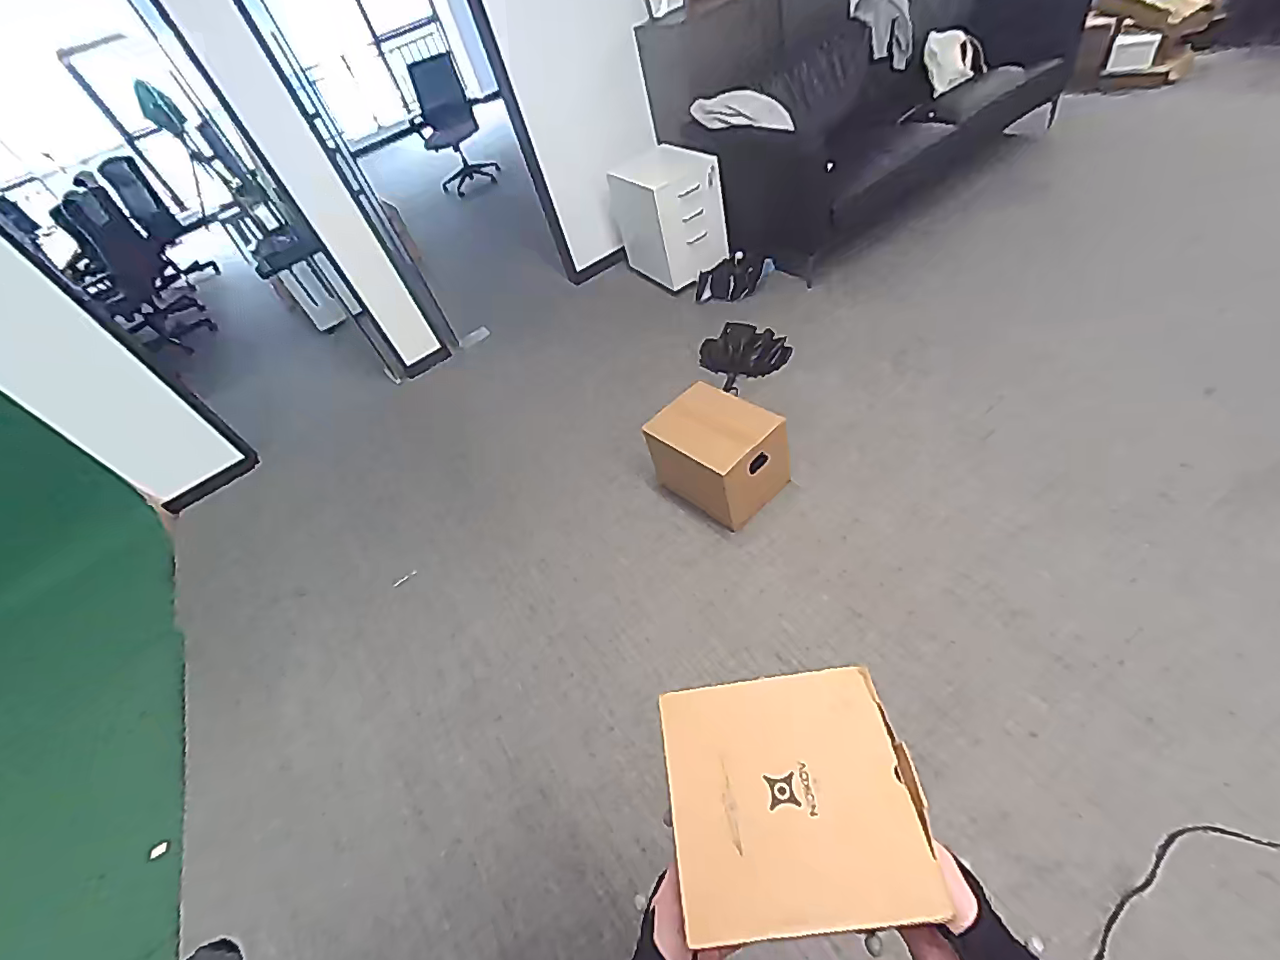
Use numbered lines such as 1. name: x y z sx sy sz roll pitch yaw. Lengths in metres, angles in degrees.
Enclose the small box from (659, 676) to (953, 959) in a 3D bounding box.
1. small box: 0.119 0.286 0.457 0.179 0.176 0.168 -11 48 3
